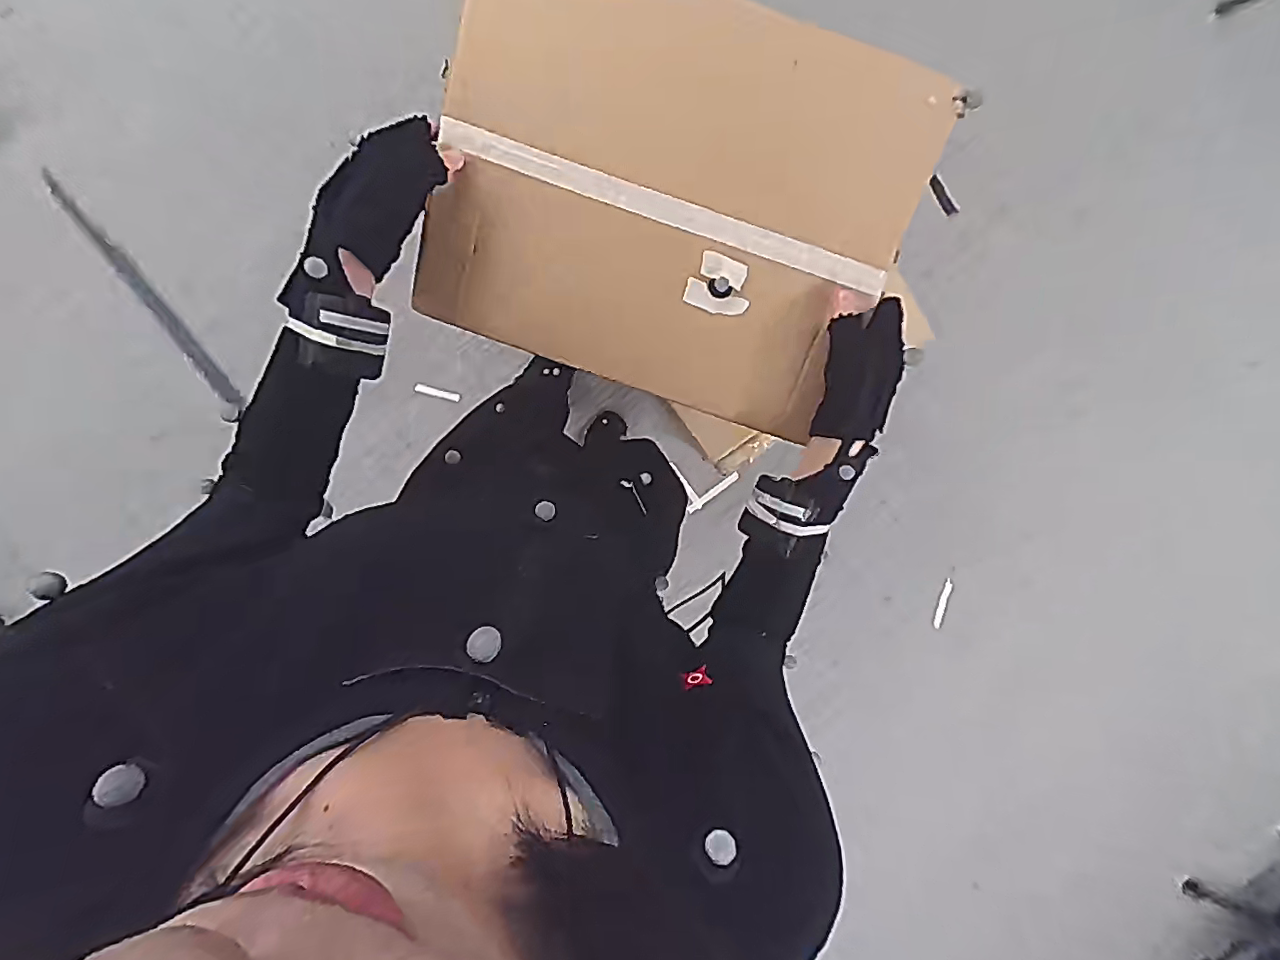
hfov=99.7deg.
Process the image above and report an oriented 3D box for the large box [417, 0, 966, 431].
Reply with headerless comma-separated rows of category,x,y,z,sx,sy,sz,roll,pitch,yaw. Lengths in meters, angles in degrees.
large box,0.030,-0.284,0.598,0.408,0.320,0.320,17,110,-2
